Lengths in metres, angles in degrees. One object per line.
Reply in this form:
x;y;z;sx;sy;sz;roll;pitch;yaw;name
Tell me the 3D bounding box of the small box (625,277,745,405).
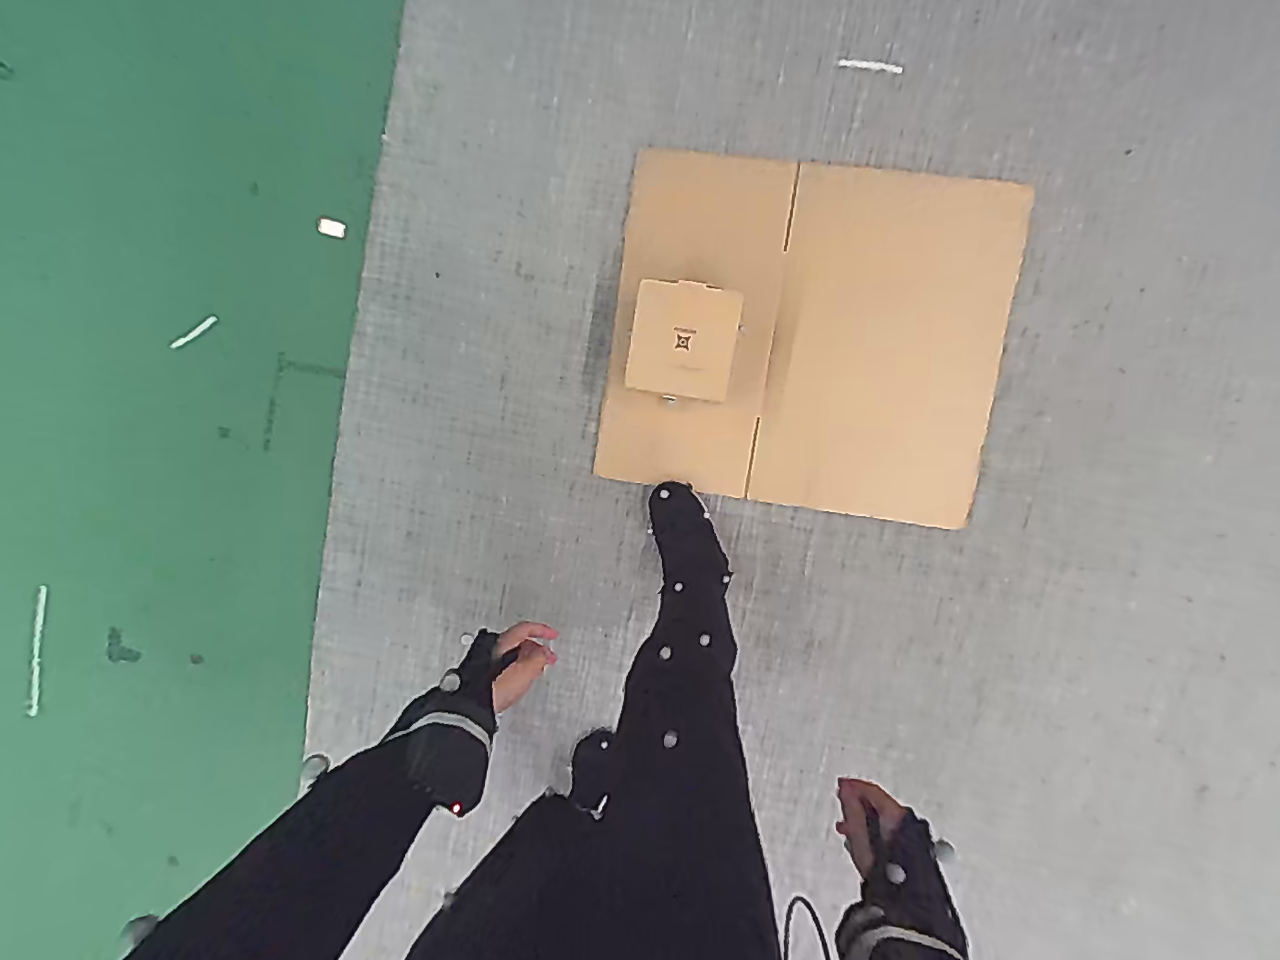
0.077;-0.227;0.922;0.168;0.176;0.179;9;98;6;small box
